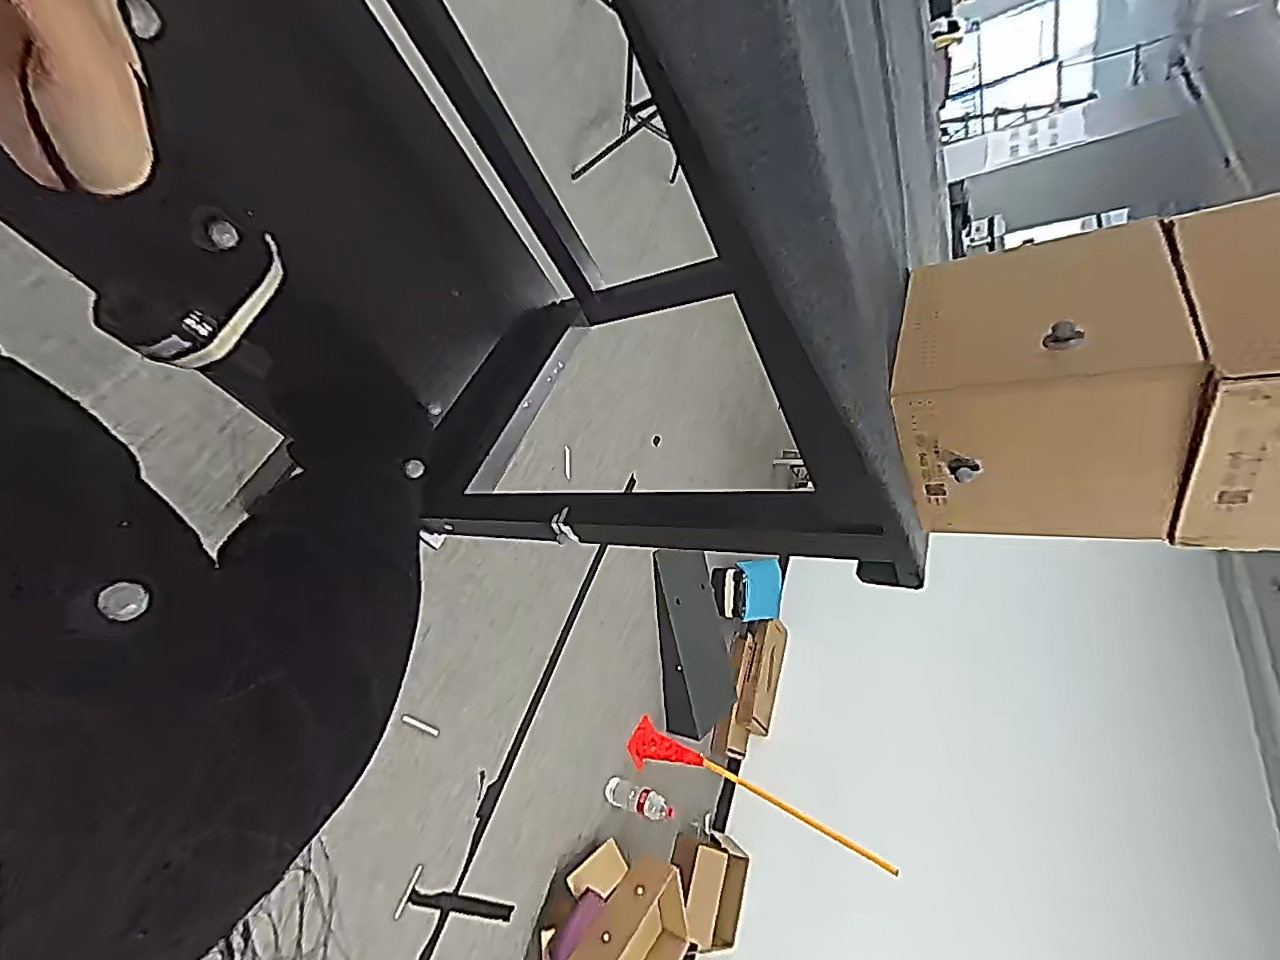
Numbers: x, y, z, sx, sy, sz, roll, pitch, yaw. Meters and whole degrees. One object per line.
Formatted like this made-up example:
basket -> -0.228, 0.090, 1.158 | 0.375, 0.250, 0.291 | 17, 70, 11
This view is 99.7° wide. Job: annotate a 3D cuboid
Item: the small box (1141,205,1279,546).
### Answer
small box -> 0.448, -0.071, 0.347 | 0.168, 0.176, 0.179 | 53, 49, -39
